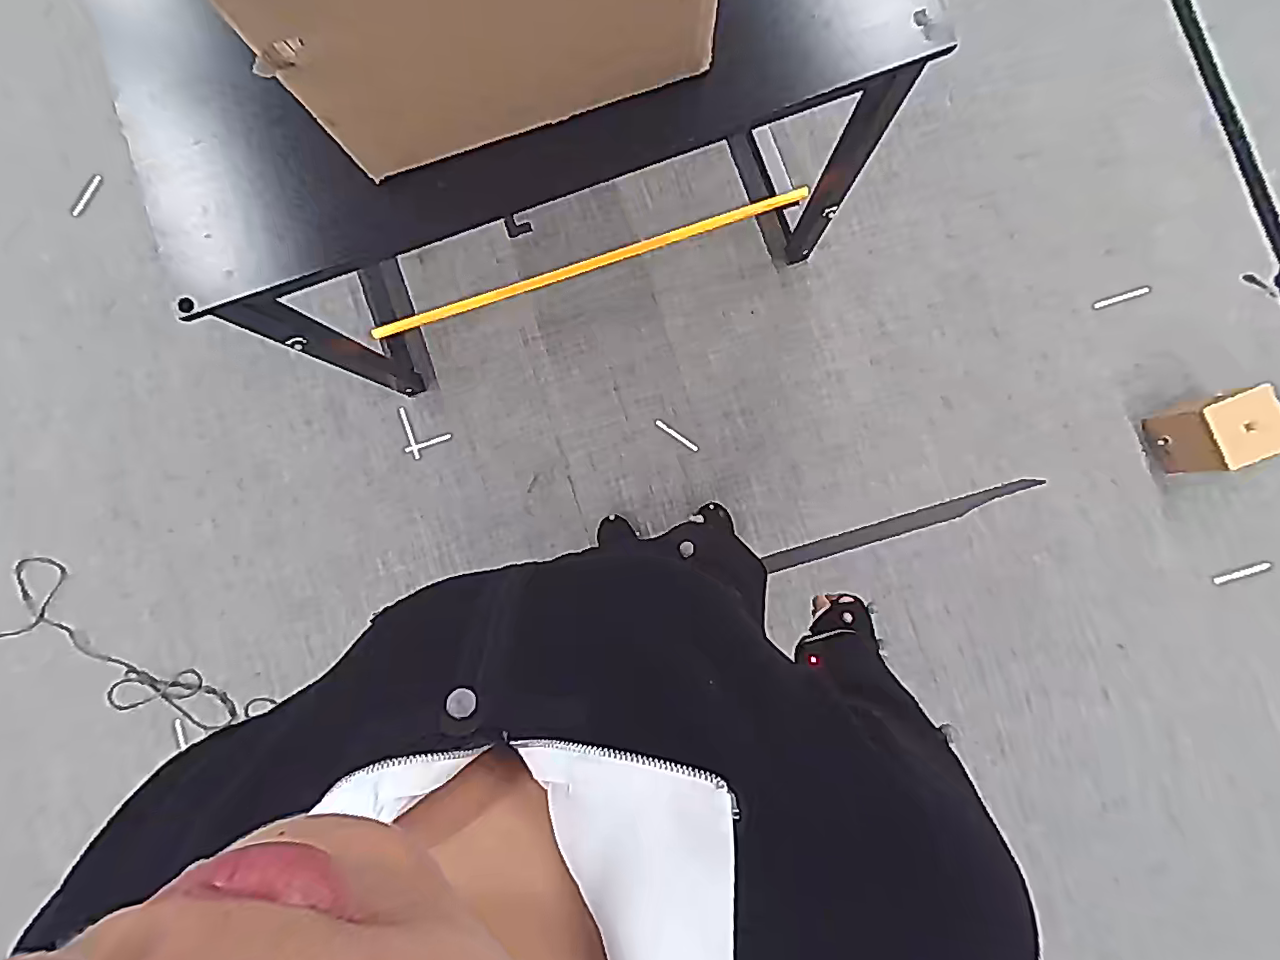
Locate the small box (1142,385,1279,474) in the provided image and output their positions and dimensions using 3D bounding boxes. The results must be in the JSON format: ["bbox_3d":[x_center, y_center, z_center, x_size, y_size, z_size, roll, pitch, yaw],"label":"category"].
[{"bbox_3d":[1.458,-0.122,1.377,0.179,0.176,0.168,-23,87,2],"label":"small box"}]
